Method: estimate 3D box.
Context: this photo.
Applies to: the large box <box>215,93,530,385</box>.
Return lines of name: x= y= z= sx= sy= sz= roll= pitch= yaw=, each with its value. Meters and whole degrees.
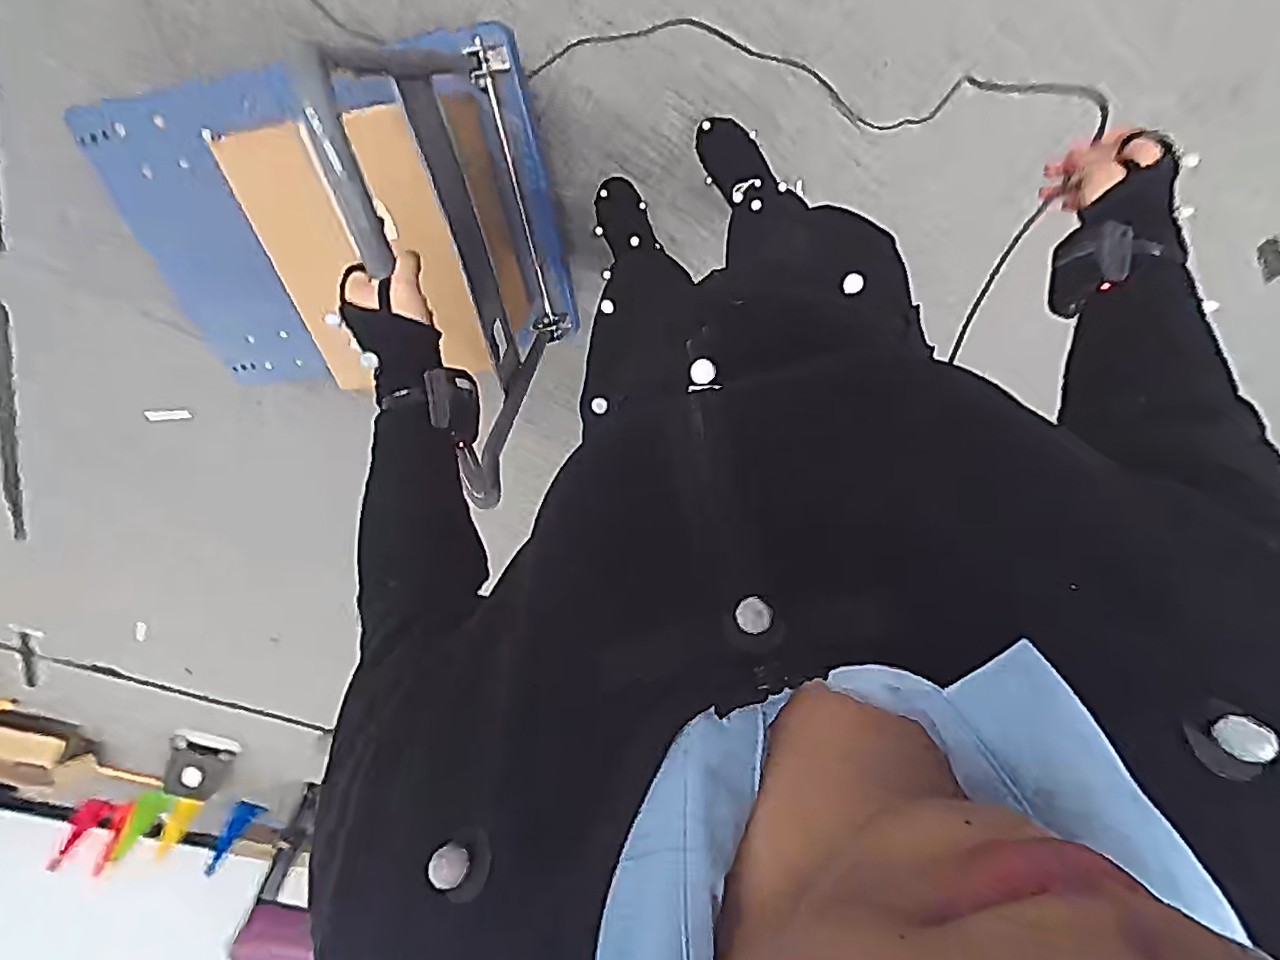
large box: x=-0.425 y=-0.437 z=0.990 sx=0.320 sy=0.320 sz=0.408 roll=-7 pitch=126 yaw=5
